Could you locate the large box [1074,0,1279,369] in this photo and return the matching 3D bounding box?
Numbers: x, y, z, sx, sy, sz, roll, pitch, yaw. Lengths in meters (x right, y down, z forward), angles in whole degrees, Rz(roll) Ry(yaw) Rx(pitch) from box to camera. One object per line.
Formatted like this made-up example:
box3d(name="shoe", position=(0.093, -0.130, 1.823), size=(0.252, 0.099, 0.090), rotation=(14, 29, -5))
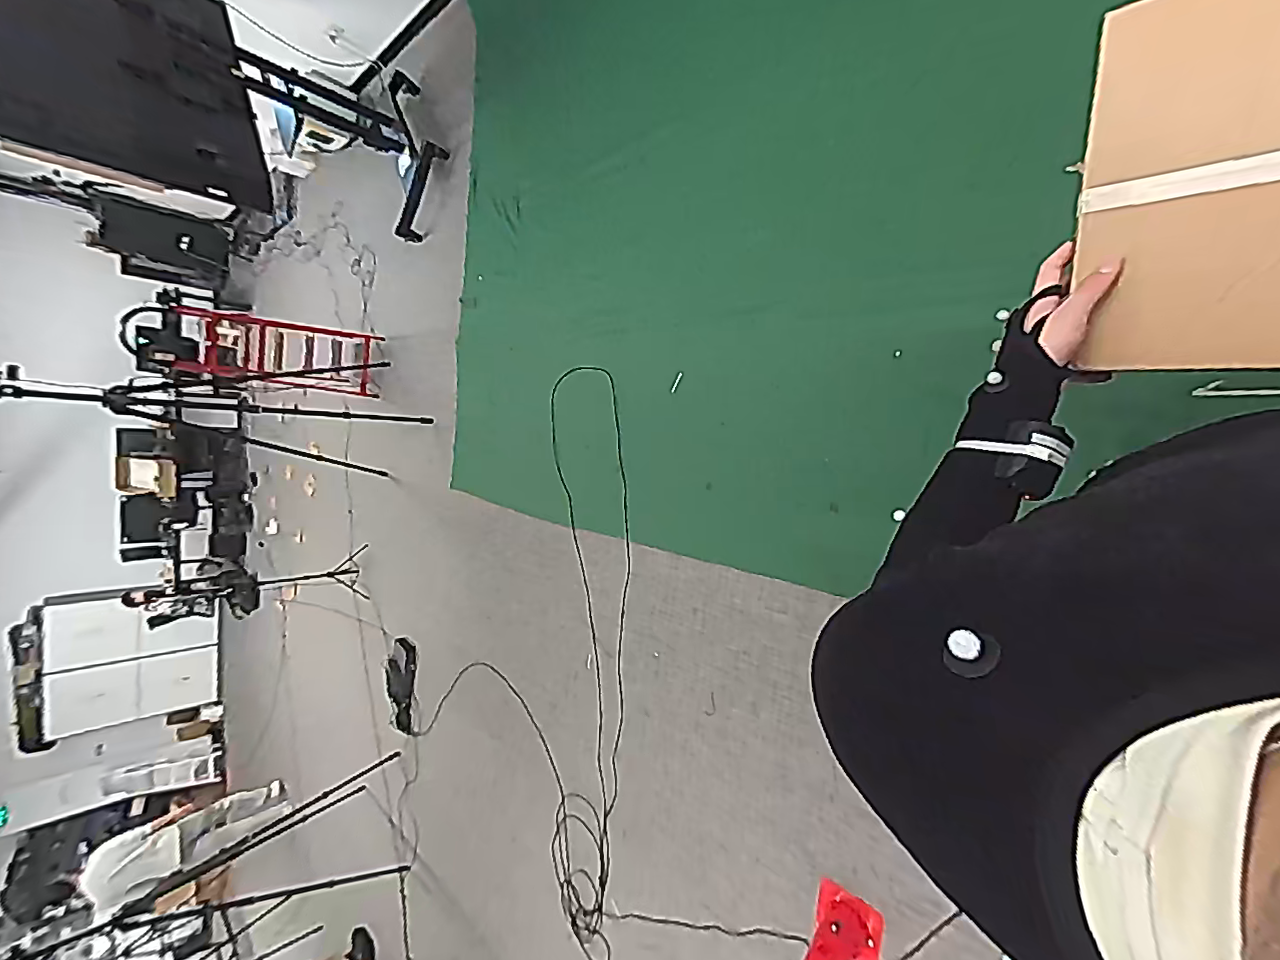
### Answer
box3d(name="large box", position=(0.671, -0.266, 0.482), size=(0.408, 0.320, 0.320), rotation=(9, 105, 44))
